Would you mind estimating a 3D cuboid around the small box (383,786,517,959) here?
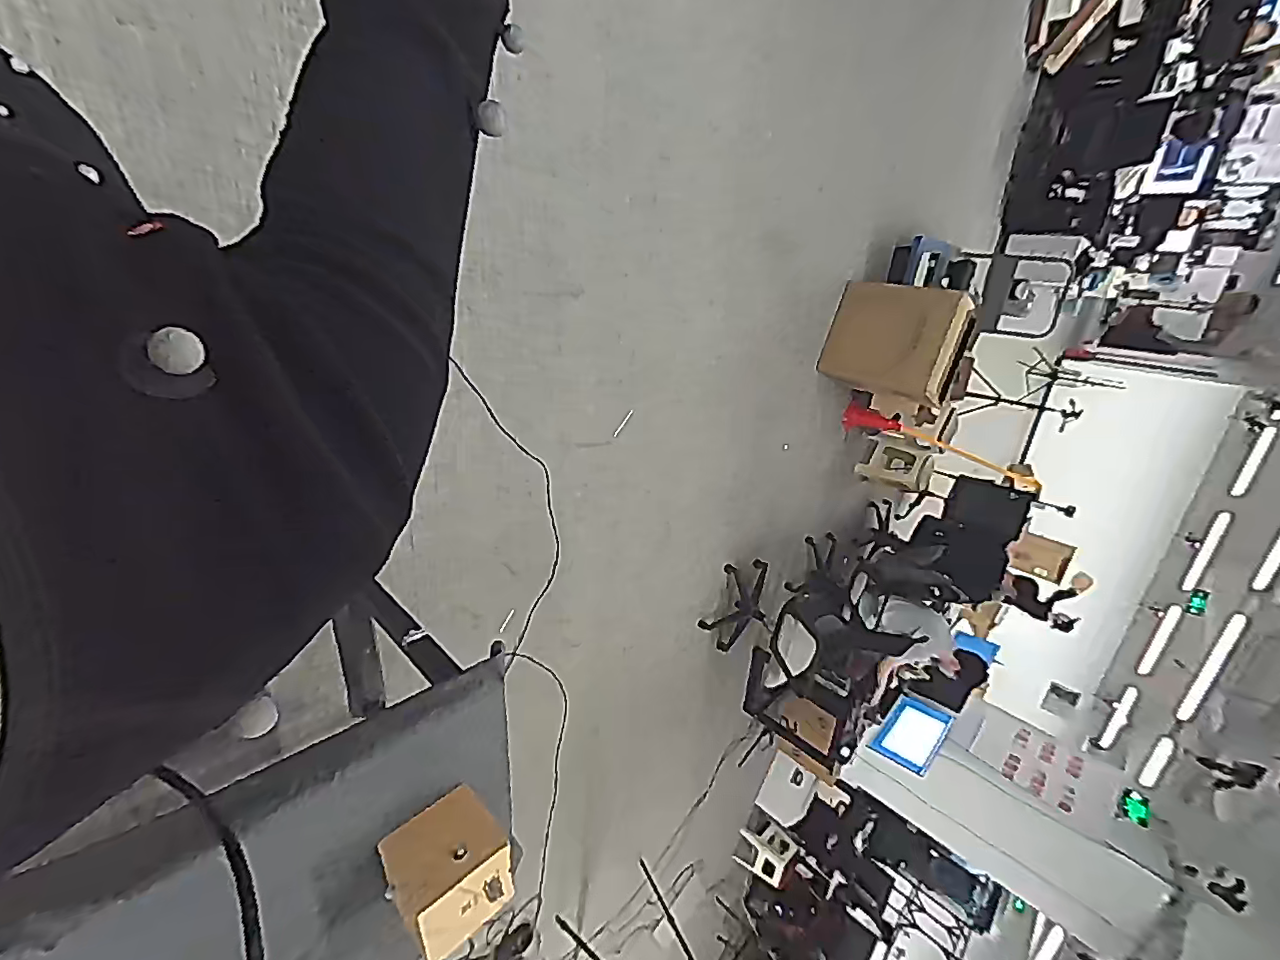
[{"bbox_3d":[-0.356,0.732,1.023,0.179,0.176,0.168,-21,123,-40],"label":"small box"}]
